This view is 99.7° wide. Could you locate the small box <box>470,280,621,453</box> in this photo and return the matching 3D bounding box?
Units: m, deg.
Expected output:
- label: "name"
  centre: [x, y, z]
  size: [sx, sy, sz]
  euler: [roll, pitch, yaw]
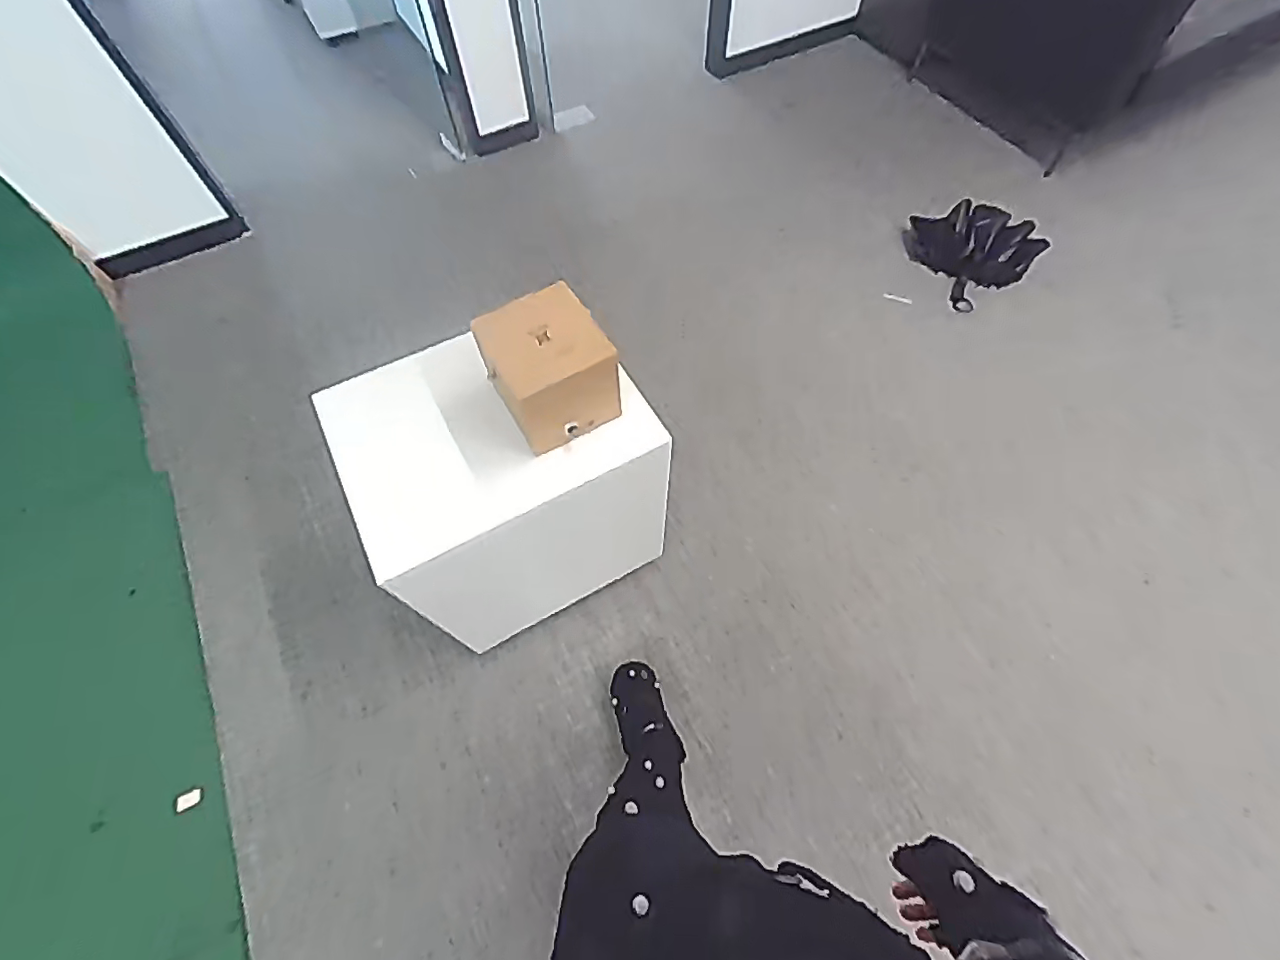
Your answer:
- label: "small box"
  centre: [-0.143, -0.175, 0.865]
  size: [0.168, 0.176, 0.179]
  euler: [-30, 67, -13]
